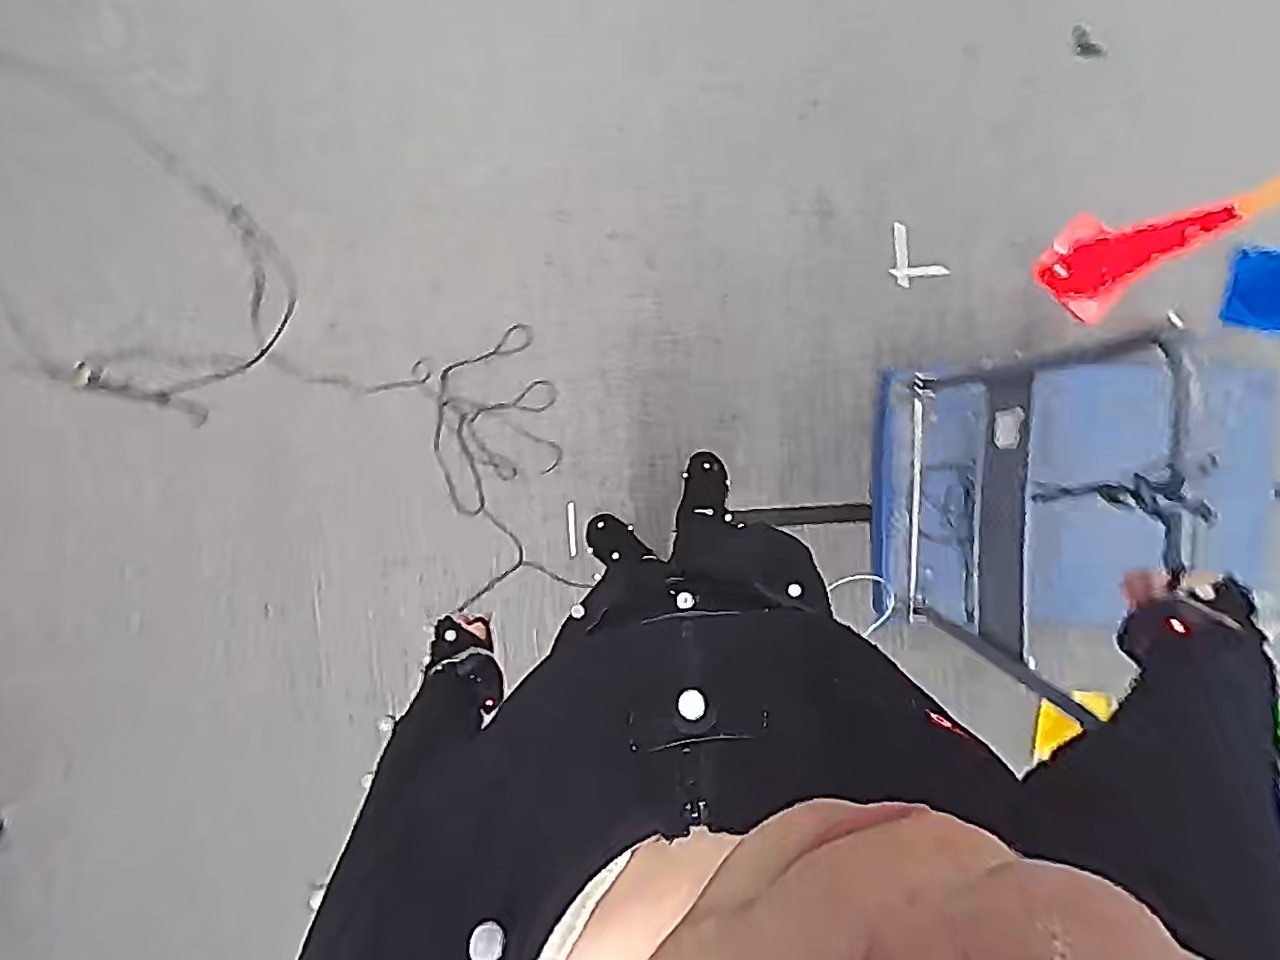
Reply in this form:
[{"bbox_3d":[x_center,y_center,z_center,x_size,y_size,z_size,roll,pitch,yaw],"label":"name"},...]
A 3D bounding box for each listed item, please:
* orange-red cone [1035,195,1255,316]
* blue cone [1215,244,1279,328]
[{"bbox_3d":[1.102,-0.518,1.161,0.199,0.360,0.198,41,93,-4],"label":"orange-red cone"},{"bbox_3d":[1.543,-0.471,1.181,0.192,0.380,0.193,11,94,0],"label":"blue cone"}]
